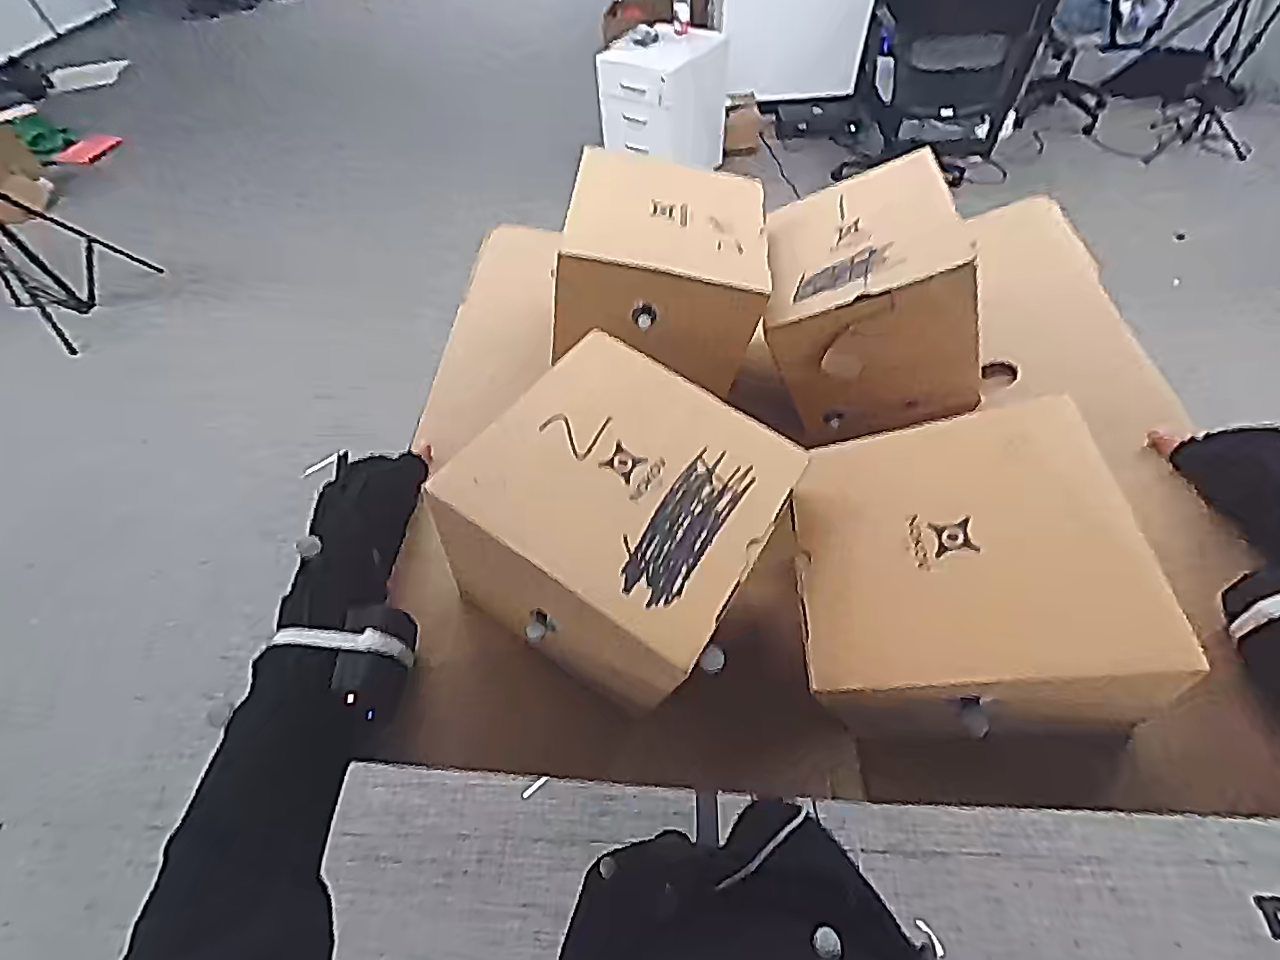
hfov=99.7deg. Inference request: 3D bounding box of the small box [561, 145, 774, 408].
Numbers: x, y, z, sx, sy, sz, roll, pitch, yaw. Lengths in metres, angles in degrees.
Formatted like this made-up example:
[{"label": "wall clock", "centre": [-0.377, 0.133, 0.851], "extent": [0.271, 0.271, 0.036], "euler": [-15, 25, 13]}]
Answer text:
[{"label": "small box", "centre": [0.020, -0.193, 0.541], "extent": [0.179, 0.176, 0.168], "euler": [10, 57, -5]}]
